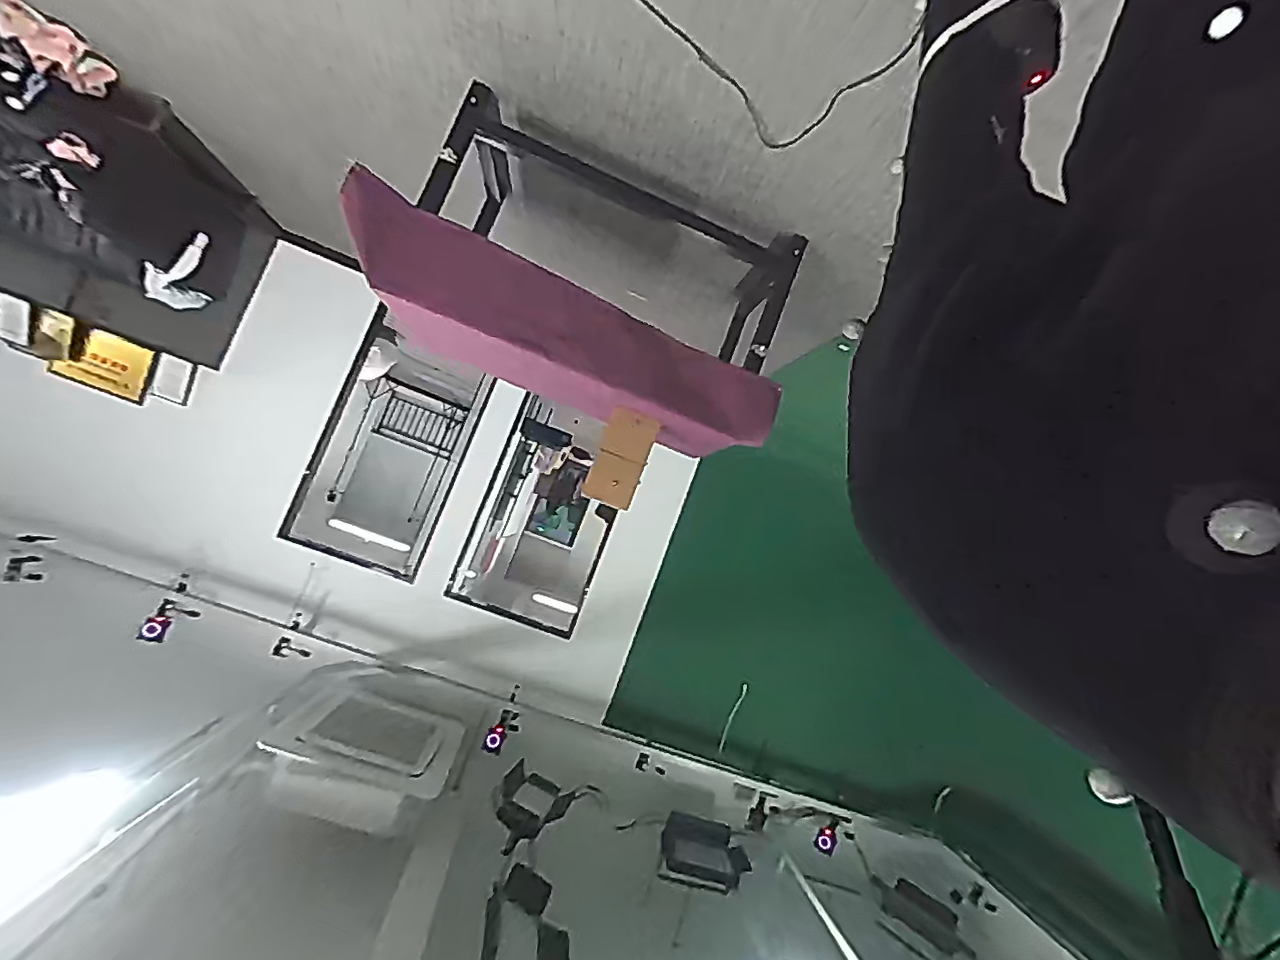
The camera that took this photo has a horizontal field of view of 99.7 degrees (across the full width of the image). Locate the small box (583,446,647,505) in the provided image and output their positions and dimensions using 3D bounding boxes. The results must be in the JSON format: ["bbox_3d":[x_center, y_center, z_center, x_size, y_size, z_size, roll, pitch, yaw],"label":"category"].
[{"bbox_3d":[-0.093,-0.019,1.953,0.179,0.176,0.168,20,175,-5],"label":"small box"}]

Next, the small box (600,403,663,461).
[{"bbox_3d":[-0.034,-0.172,1.967,0.179,0.176,0.168,22,175,-5],"label":"small box"}]
